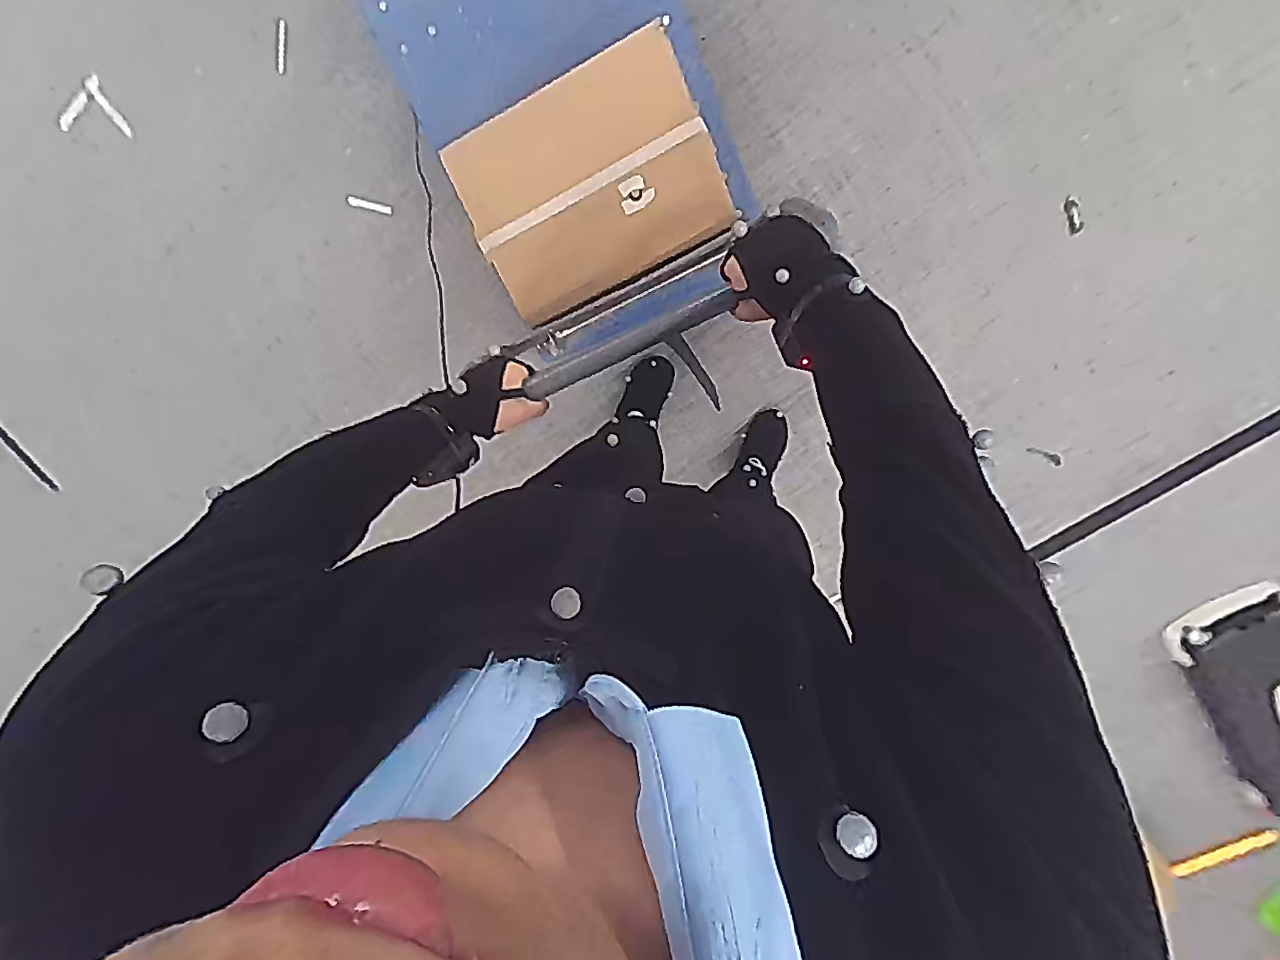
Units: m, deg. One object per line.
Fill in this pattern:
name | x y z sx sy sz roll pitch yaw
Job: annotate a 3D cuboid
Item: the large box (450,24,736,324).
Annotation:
large box | -0.071 -0.532 1.041 0.408 0.320 0.320 -24 105 10
